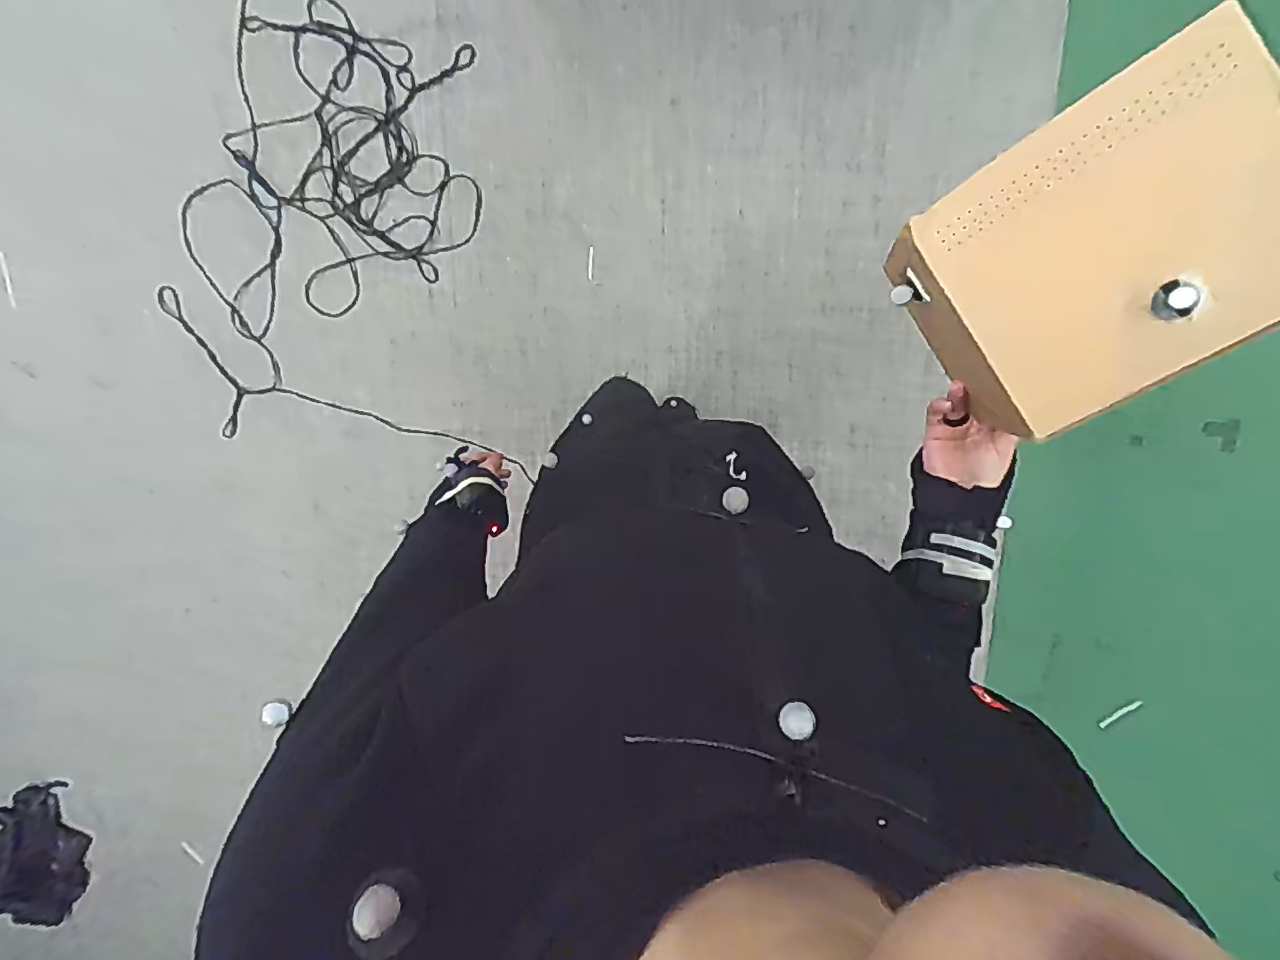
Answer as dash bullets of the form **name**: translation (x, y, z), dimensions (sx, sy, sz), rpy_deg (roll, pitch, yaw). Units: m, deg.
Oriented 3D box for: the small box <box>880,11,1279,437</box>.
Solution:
- **small box**: translation (0.298, -0.151, 0.375), dimensions (0.179, 0.168, 0.176), rpy_deg (-31, 87, 23)
